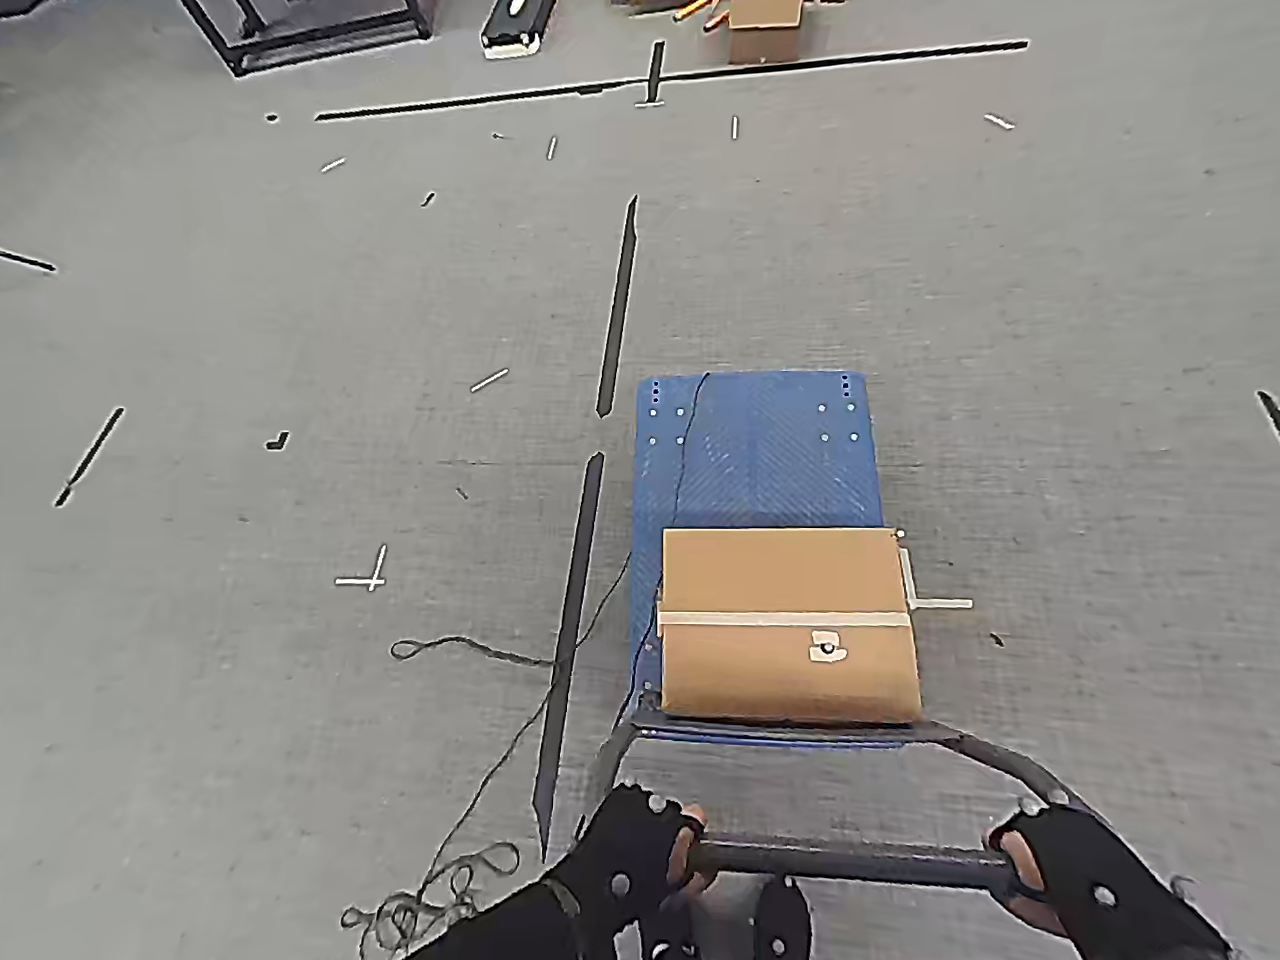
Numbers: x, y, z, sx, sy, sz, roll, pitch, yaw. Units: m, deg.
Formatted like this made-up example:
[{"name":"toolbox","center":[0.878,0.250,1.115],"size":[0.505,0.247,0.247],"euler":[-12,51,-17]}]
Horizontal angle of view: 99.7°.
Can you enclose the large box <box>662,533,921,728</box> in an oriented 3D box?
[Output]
[{"name":"large box","center":[0.250,0.293,1.038],"size":[0.408,0.320,0.320],"euler":[-1,70,5]}]
